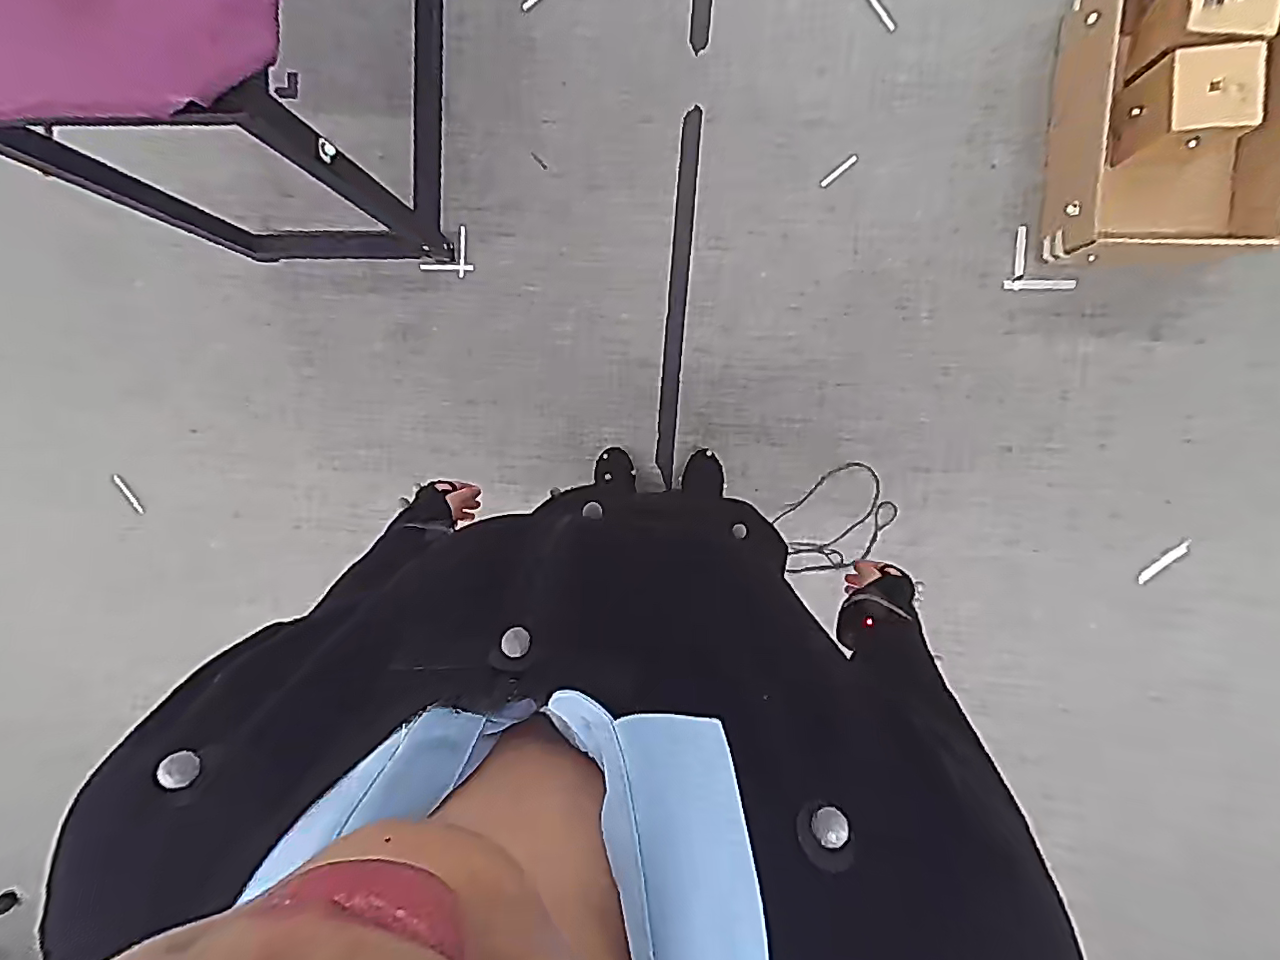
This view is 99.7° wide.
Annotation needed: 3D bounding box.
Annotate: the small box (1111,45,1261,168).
[{"bbox_3d":[1.205,-0.821,1.208,0.179,0.176,0.168,-1,95,5],"label":"small box"}]
